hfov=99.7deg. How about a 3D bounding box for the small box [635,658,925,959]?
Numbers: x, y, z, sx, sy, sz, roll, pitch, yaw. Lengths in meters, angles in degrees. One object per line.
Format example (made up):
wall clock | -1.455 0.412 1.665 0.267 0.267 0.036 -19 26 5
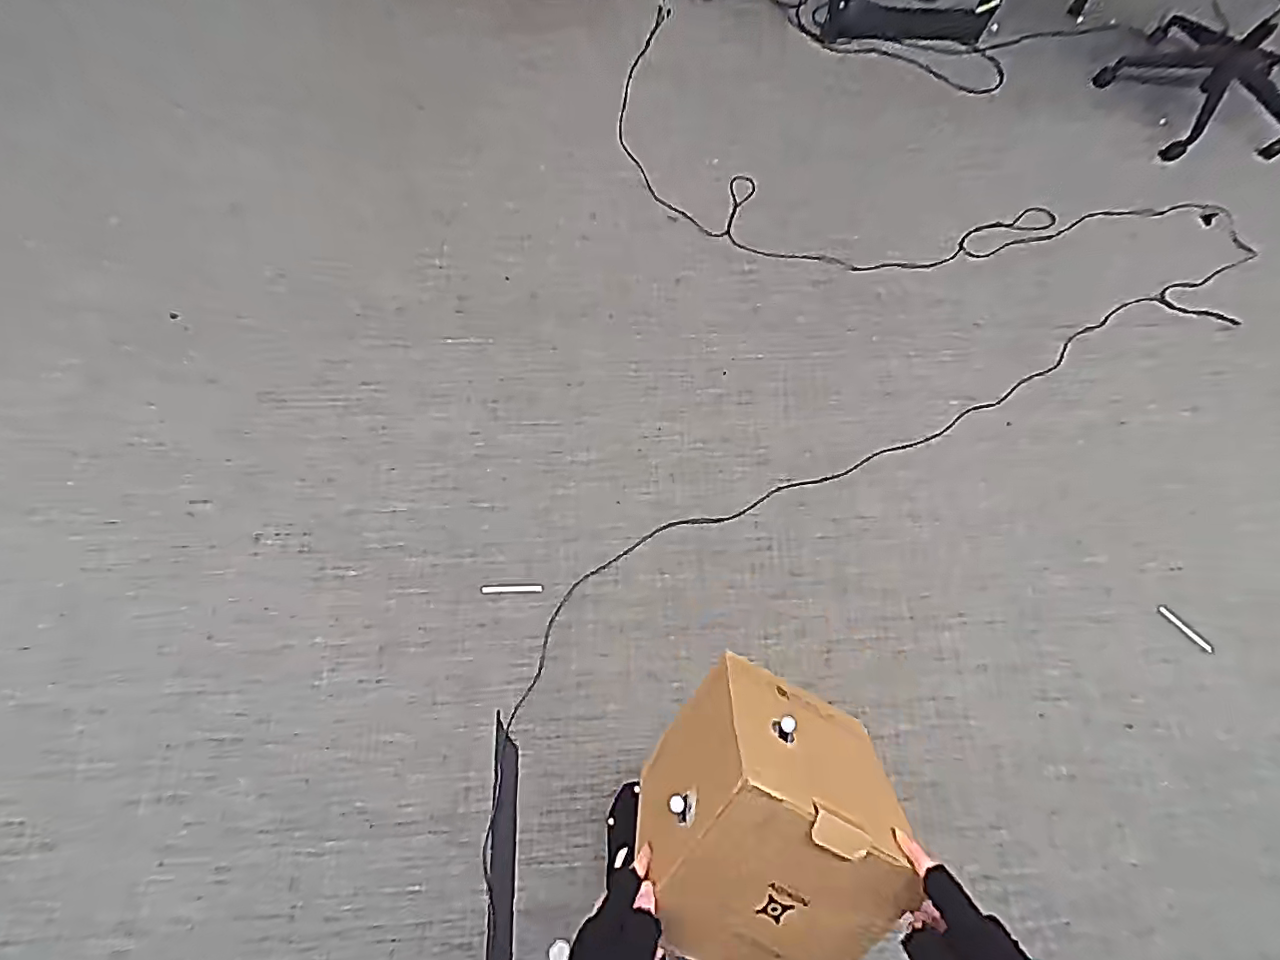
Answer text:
small box | 0.109 0.302 0.499 0.168 0.176 0.179 30 105 -4
